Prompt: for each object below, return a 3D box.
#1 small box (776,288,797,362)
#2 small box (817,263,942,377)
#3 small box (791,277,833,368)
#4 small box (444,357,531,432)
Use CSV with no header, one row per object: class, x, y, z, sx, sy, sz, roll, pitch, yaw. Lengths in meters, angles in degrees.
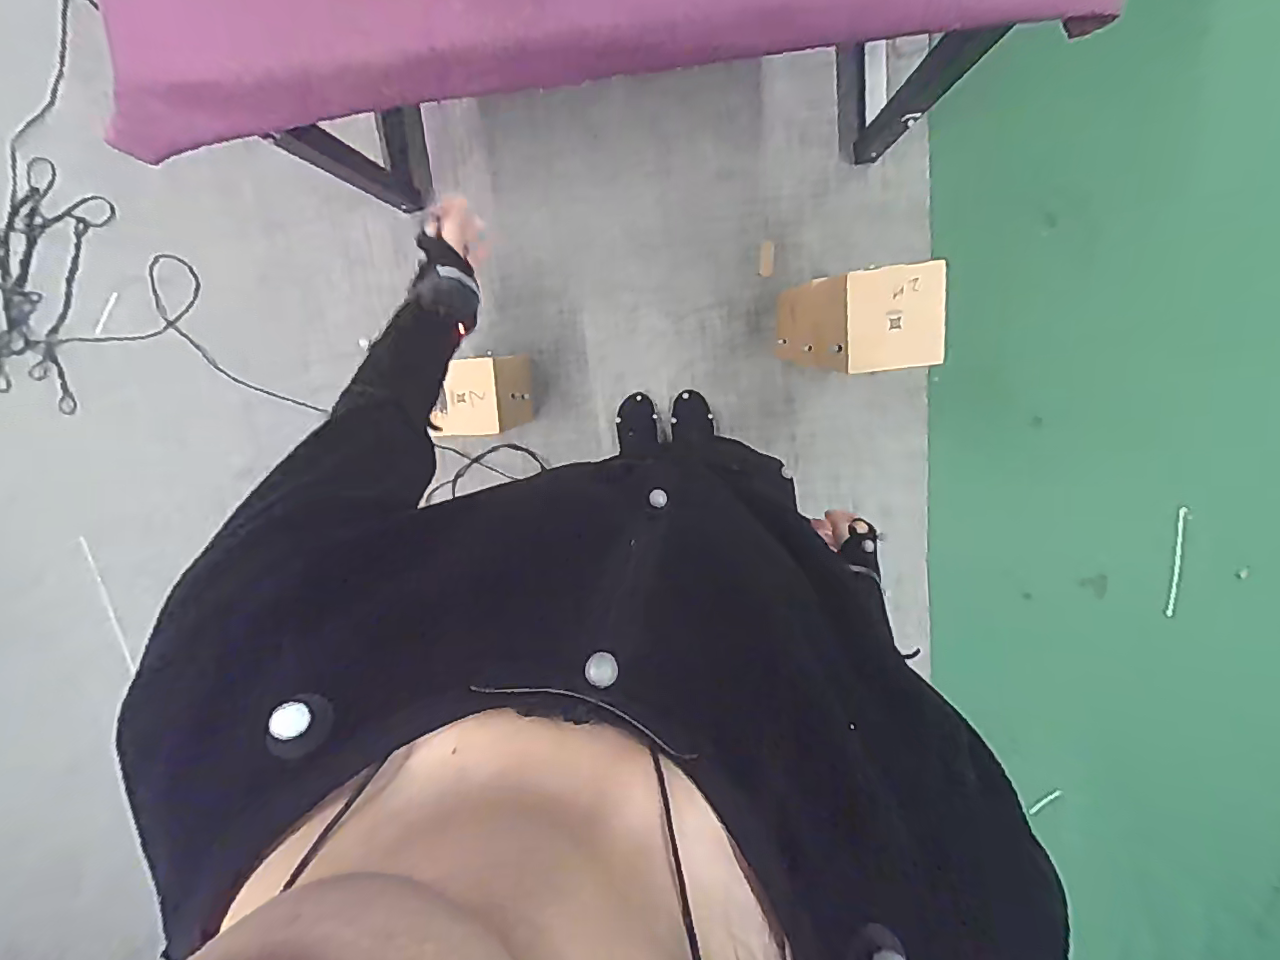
small box,0.432,-0.379,1.324,0.179,0.176,0.168,-4,103,3
small box,0.436,-0.294,1.009,0.168,0.176,0.179,-6,104,4
small box,0.429,-0.340,1.167,0.168,0.176,0.179,-6,104,4
small box,-0.387,-0.226,1.402,0.168,0.176,0.179,-1,104,3
